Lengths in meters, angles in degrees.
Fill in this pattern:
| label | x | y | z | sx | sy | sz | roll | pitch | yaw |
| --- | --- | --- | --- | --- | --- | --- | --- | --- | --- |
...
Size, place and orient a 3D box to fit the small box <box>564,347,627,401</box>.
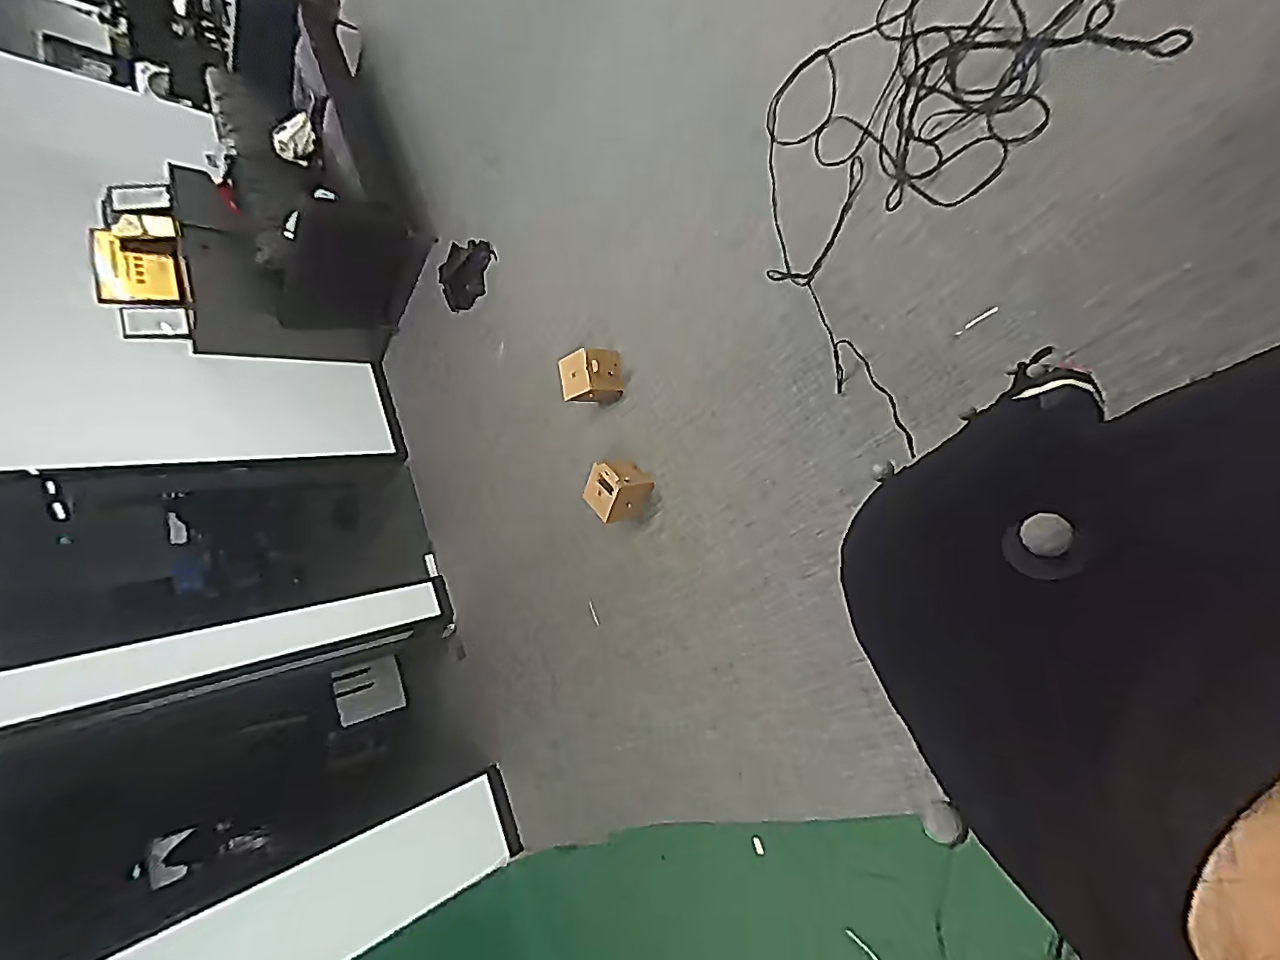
| label | x | y | z | sx | sy | sz | roll | pitch | yaw |
| --- | --- | --- | --- | --- | --- | --- | --- | --- | --- |
| small box | -0.174 | -0.409 | 2.119 | 0.179 | 0.176 | 0.168 | -13 | 85 | 47 |
